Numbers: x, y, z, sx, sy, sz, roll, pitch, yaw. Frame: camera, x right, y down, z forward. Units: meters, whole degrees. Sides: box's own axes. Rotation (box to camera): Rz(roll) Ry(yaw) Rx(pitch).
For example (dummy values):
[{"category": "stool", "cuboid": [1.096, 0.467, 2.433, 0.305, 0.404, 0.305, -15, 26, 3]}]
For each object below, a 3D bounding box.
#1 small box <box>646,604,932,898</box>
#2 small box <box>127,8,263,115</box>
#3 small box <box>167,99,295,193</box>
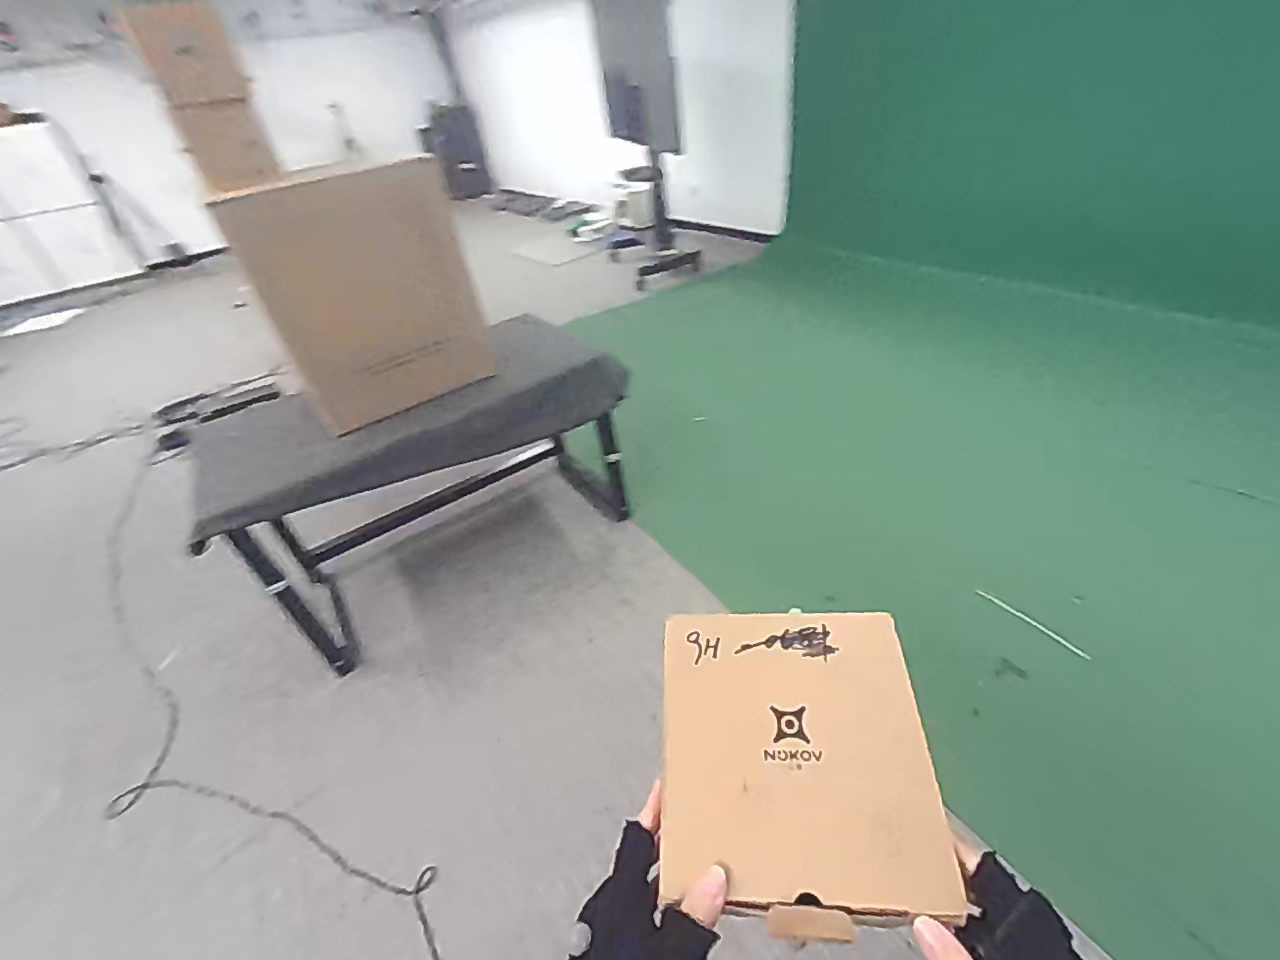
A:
[{"category": "small box", "cuboid": [0.099, 0.214, 0.424, 0.168, 0.176, 0.179, -3, 52, 7]}, {"category": "small box", "cuboid": [-0.956, -0.904, 1.178, 0.179, 0.176, 0.168, -30, 43, -23]}, {"category": "small box", "cuboid": [-0.954, -0.788, 1.272, 0.168, 0.176, 0.179, -36, 47, -29]}]
